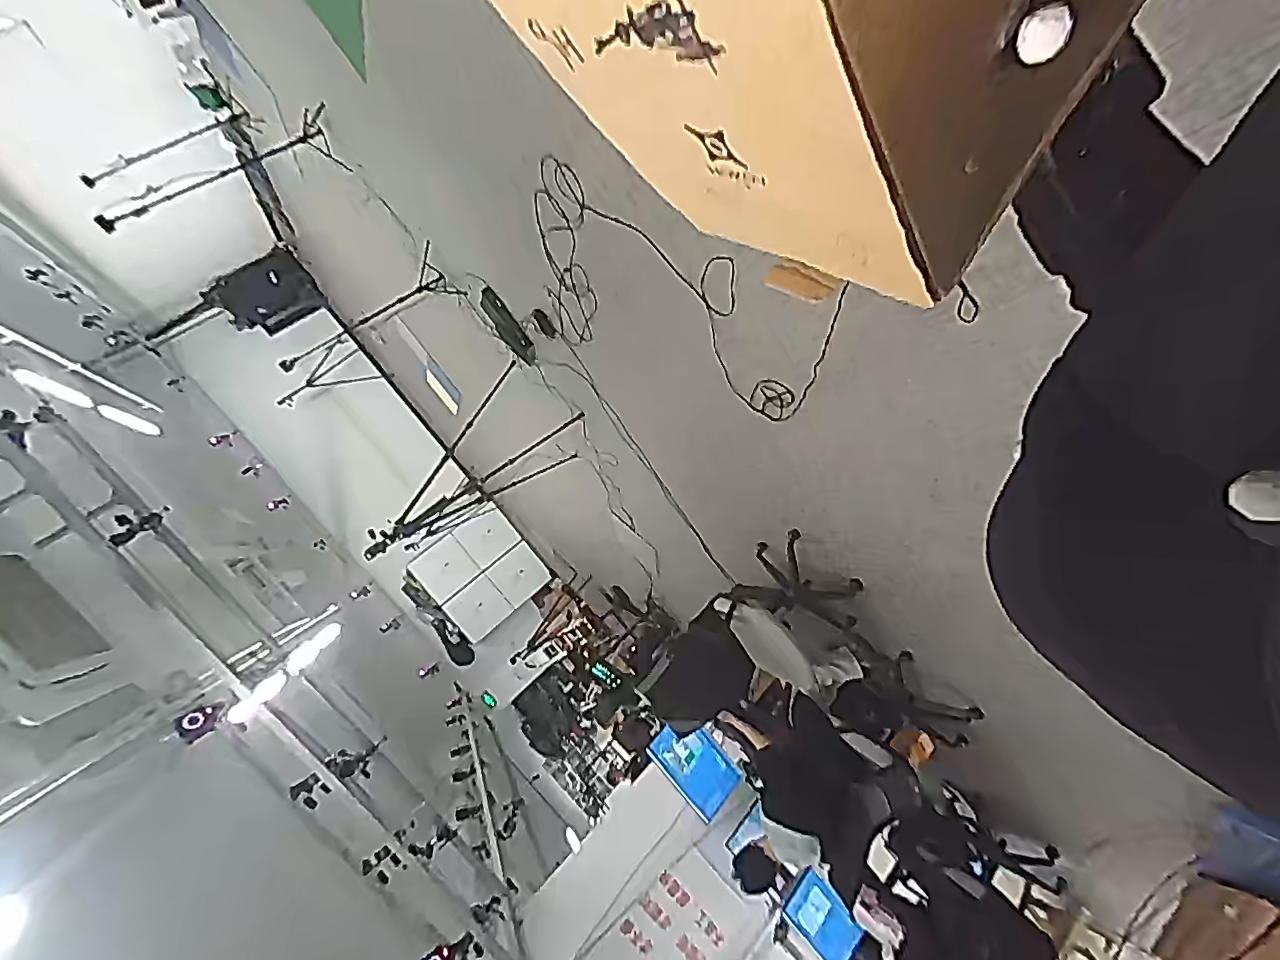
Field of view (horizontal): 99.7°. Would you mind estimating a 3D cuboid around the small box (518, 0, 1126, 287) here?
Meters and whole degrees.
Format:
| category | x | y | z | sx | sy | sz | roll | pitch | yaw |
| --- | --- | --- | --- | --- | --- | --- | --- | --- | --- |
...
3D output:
| category | x | y | z | sx | sy | sz | roll | pitch | yaw |
| --- | --- | --- | --- | --- | --- | --- | --- | --- | --- |
| small box | 0.086 | -0.217 | 0.225 | 0.168 | 0.176 | 0.179 | 39 | -167 | 37 |
